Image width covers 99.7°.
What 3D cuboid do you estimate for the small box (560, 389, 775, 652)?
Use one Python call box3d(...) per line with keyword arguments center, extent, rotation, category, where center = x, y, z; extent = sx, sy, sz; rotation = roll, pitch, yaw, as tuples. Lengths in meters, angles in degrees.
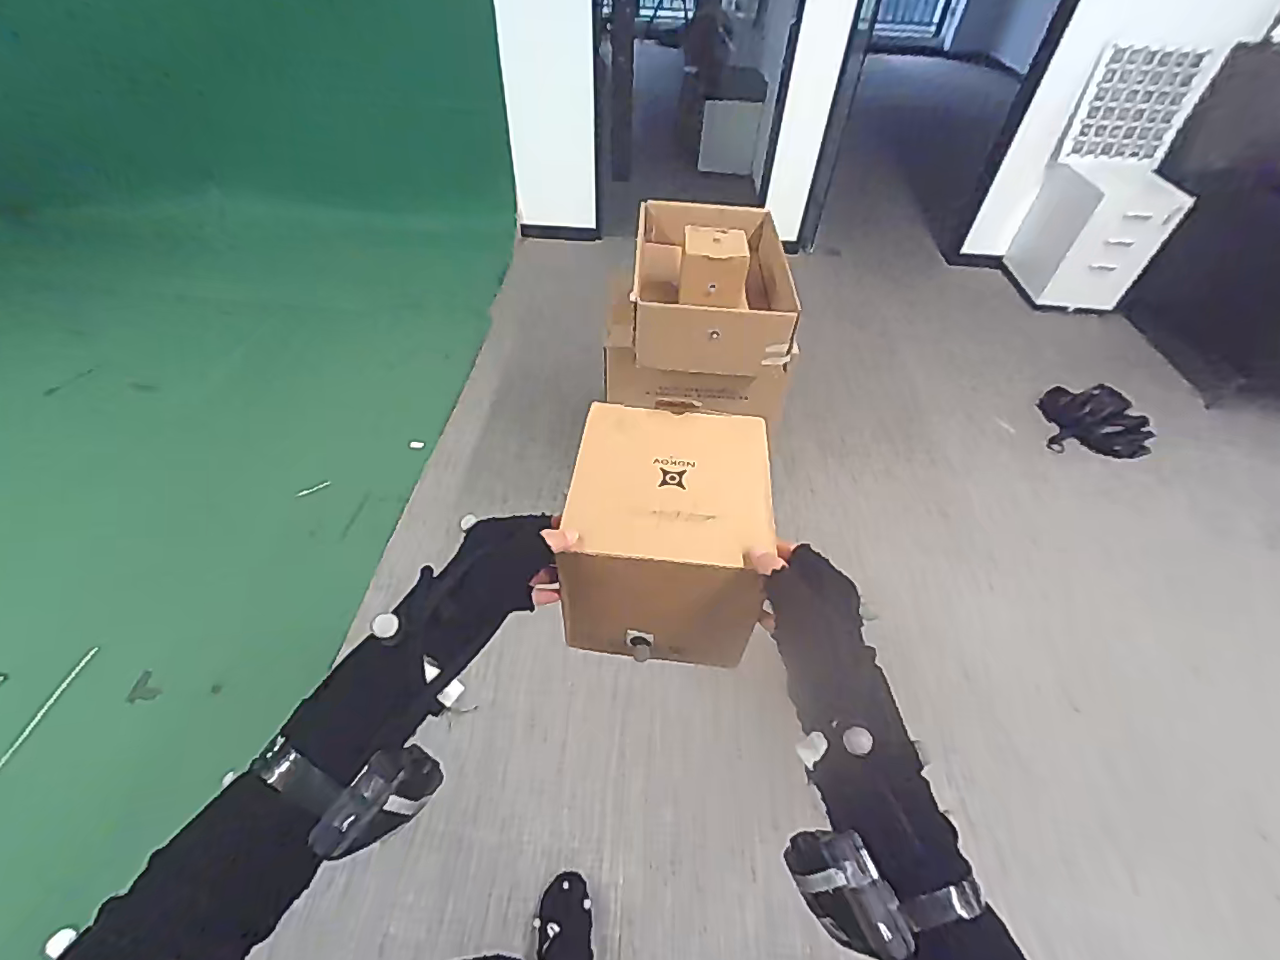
box3d(center=(0.024, 0.039, 0.516), extent=(0.168, 0.176, 0.179), rotation=(6, 48, 2), category="small box")
